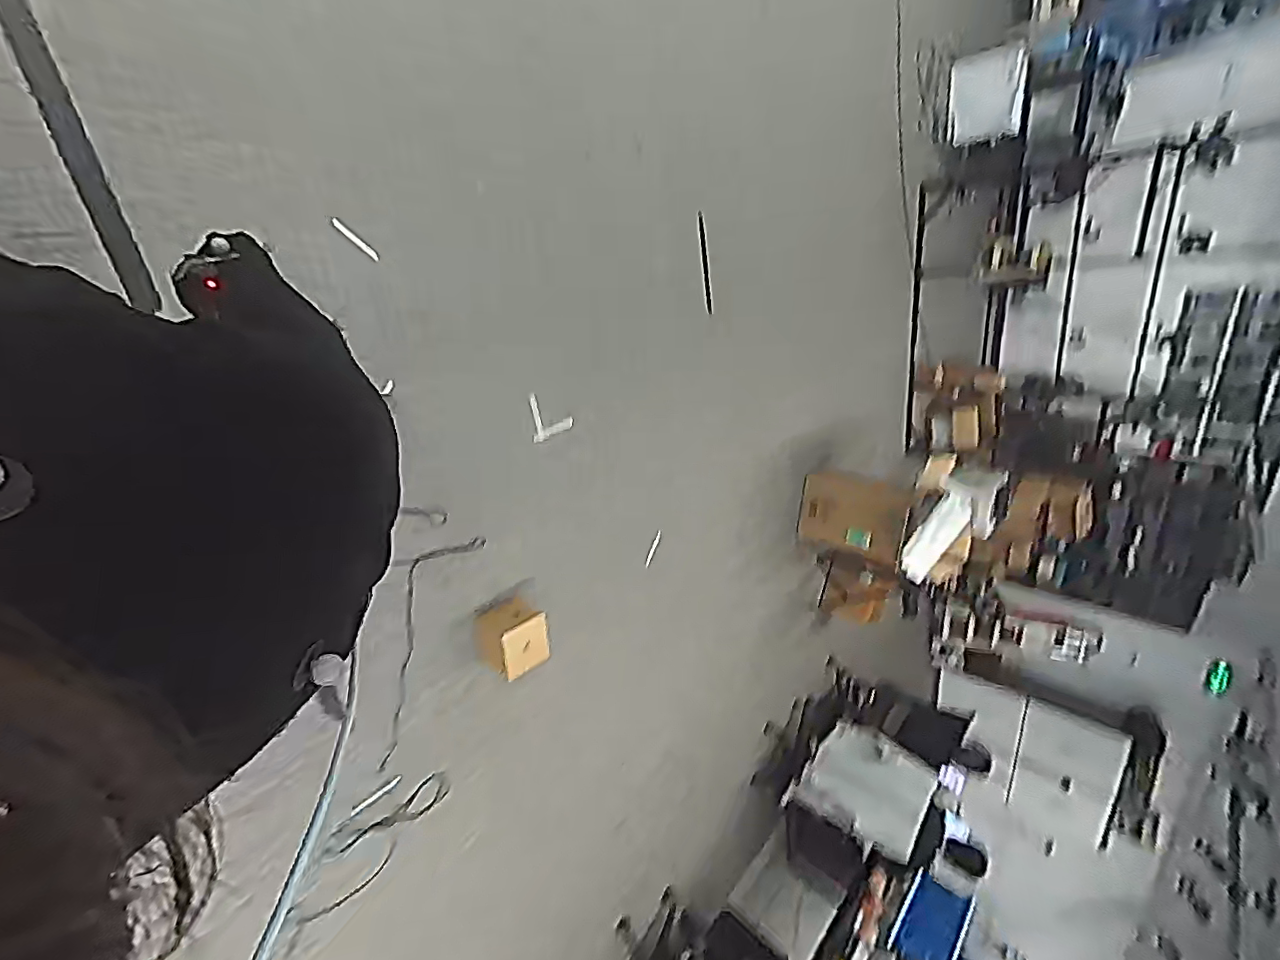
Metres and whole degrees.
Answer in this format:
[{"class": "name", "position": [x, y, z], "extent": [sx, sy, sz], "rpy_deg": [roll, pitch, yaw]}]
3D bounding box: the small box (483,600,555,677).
[{"class": "small box", "position": [-0.414, 0.525, 1.833], "extent": [0.168, 0.176, 0.179], "rpy_deg": [-23, 116, -42]}]
